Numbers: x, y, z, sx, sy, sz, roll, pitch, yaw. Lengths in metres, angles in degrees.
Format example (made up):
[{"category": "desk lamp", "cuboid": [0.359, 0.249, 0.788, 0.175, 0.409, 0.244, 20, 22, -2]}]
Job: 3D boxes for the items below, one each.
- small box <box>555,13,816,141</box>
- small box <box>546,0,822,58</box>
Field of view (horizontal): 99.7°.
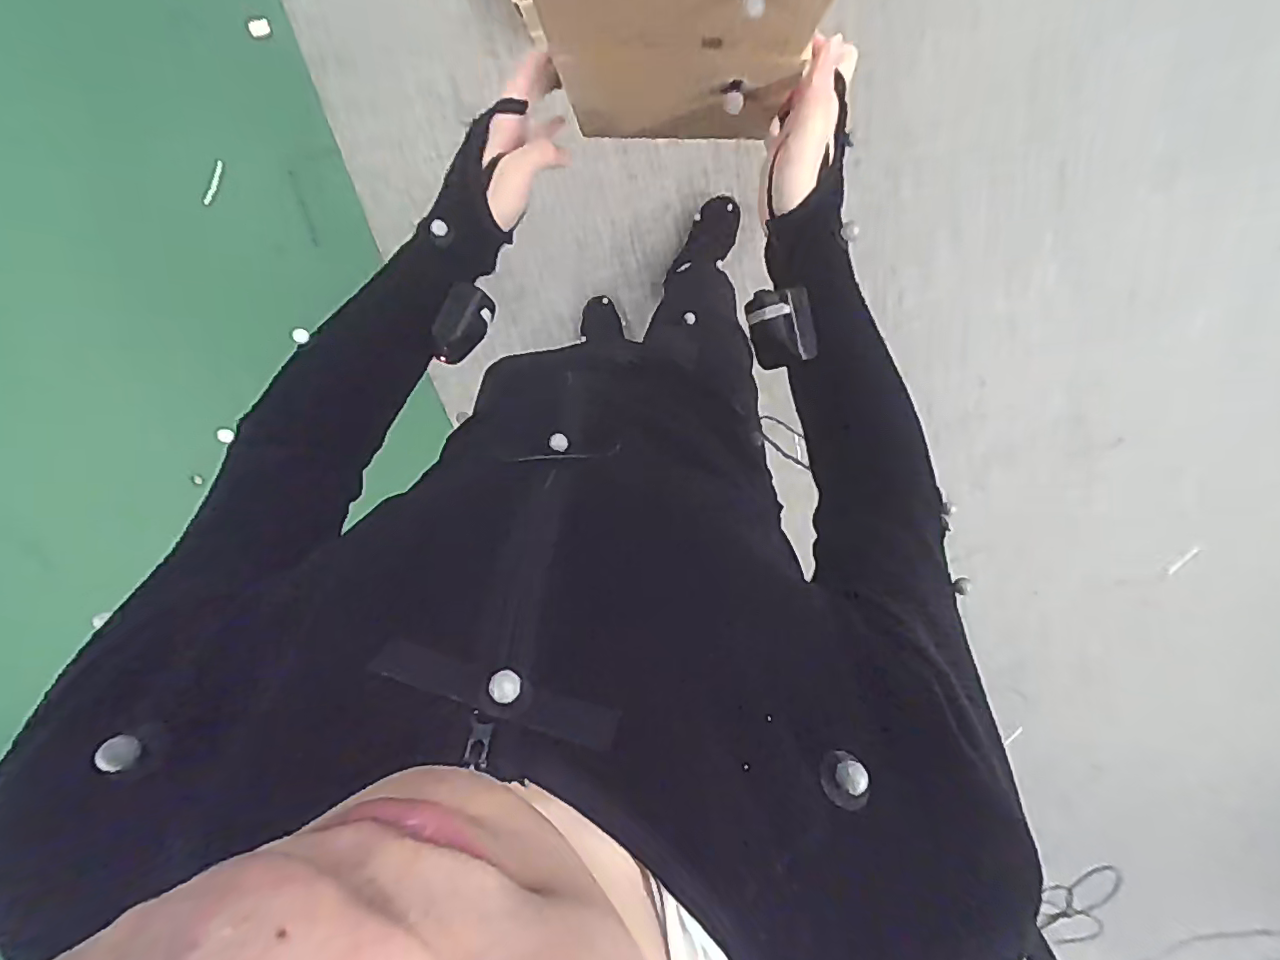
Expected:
[{"category": "small box", "cuboid": [0.034, -0.383, 0.420, 0.179, 0.176, 0.168, 2, 106, 2]}, {"category": "small box", "cuboid": [0.026, -0.342, 0.262, 0.168, 0.176, 0.179, 2, 105, 0]}]
